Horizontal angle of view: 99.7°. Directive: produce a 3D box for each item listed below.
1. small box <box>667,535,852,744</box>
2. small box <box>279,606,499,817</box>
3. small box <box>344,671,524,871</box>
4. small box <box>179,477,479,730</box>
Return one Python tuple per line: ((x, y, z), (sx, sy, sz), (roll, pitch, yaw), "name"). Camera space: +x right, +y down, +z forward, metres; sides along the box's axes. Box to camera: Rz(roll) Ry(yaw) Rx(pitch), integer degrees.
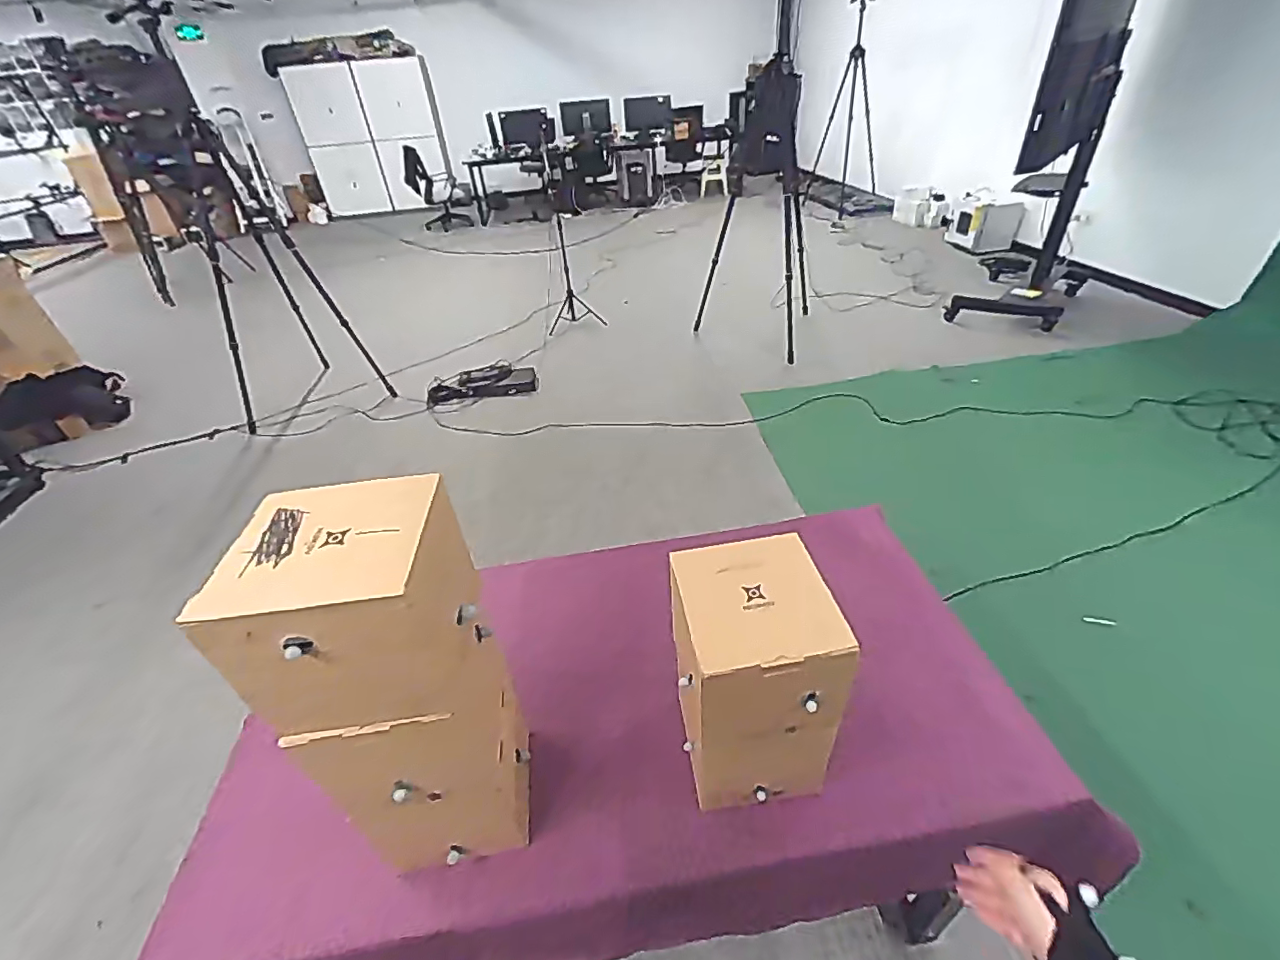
((0.131, 0.196, 0.655), (0.168, 0.176, 0.179), (-8, 37, -4), "small box")
((-0.266, 0.252, 0.626), (0.168, 0.176, 0.179), (-9, 38, -4), "small box")
((-0.254, 0.386, 0.721), (0.179, 0.176, 0.168), (-9, 37, -6), "small box")
((-0.272, 0.120, 0.528), (0.179, 0.176, 0.168), (-7, 37, -3), "small box")
